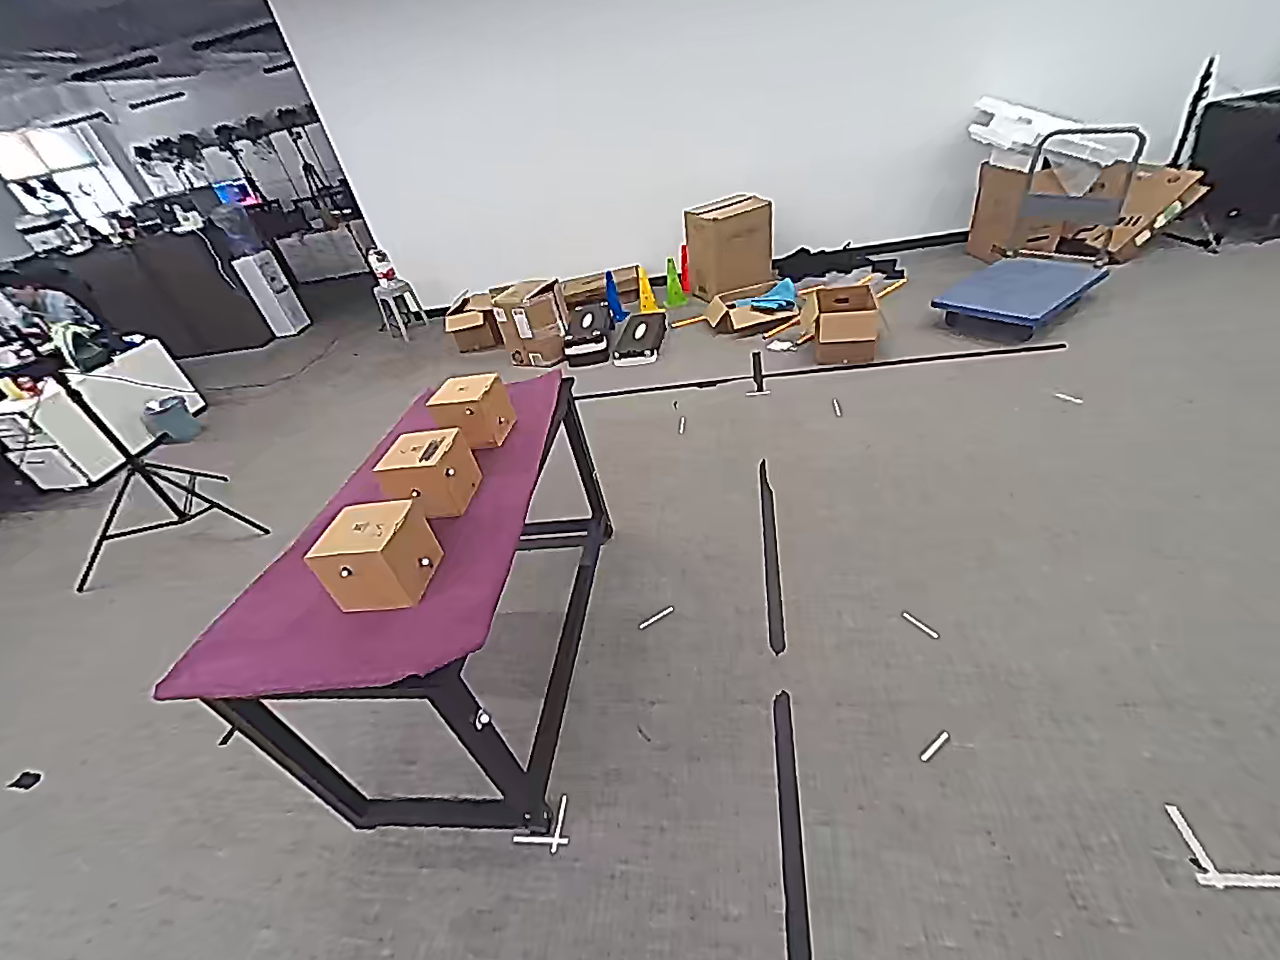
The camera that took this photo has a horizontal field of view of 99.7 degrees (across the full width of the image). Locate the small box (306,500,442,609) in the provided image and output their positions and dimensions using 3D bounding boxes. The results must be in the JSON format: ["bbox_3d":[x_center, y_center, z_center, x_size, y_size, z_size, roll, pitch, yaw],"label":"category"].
[{"bbox_3d":[-0.564,0.164,1.172,0.179,0.176,0.168,-6,36,9],"label":"small box"}]

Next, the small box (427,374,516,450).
[{"bbox_3d":[-0.506,-0.203,1.647,0.179,0.176,0.168,-3,38,14],"label":"small box"}]
